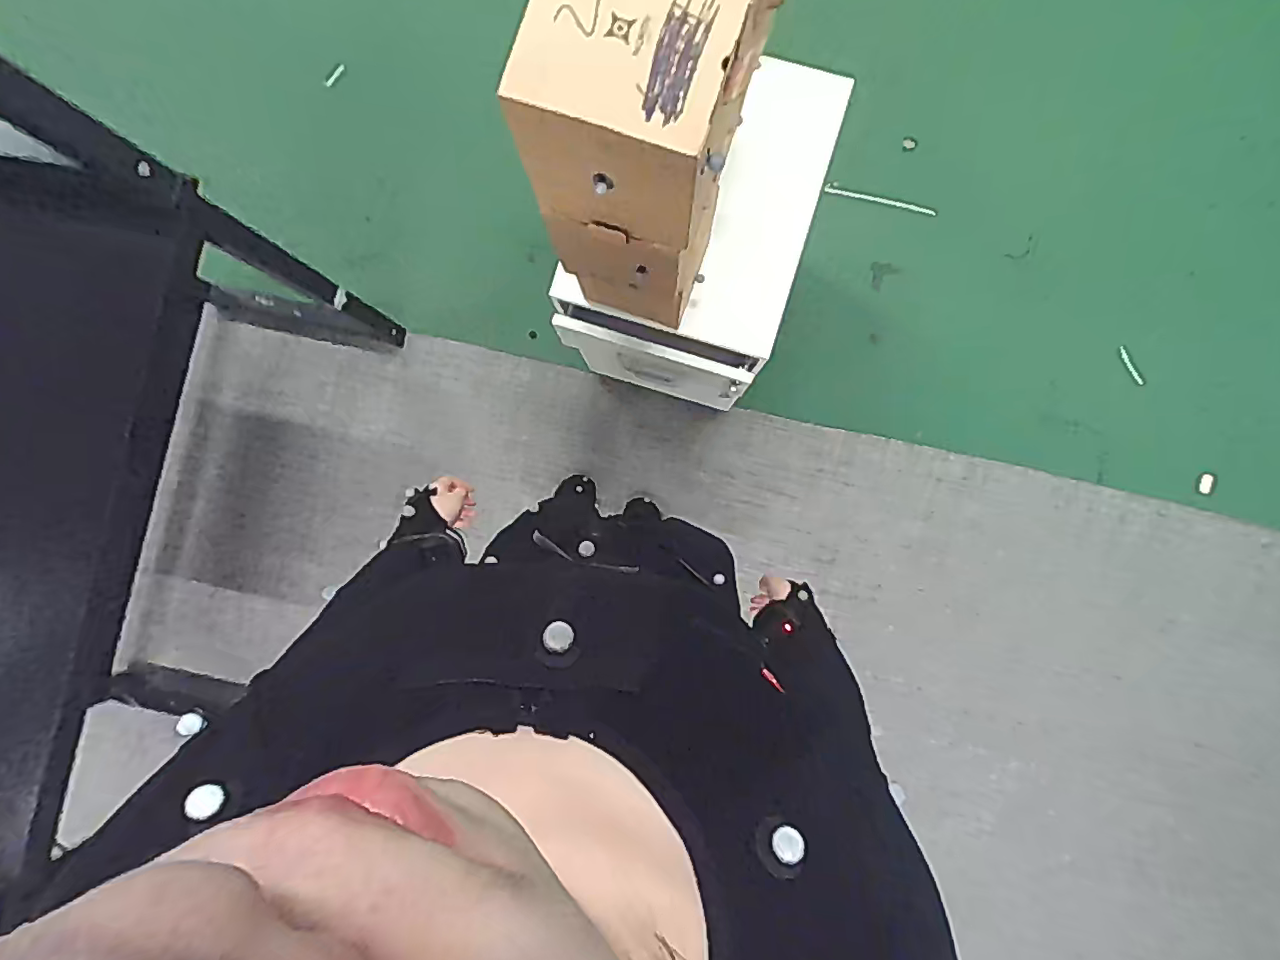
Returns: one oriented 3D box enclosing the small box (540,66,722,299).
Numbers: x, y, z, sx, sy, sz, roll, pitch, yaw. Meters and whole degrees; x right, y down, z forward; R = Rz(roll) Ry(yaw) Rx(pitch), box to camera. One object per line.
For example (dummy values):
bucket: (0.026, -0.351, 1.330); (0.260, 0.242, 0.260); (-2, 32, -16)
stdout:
small box: (-0.008, -0.350, 0.672); (0.168, 0.176, 0.179); (16, 88, 1)

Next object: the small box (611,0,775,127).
small box: (0.068, -0.590, 0.678); (0.179, 0.176, 0.168); (20, 89, 1)

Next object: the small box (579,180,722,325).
small box: (0.009, -0.360, 0.833); (0.179, 0.176, 0.168); (20, 88, 2)
